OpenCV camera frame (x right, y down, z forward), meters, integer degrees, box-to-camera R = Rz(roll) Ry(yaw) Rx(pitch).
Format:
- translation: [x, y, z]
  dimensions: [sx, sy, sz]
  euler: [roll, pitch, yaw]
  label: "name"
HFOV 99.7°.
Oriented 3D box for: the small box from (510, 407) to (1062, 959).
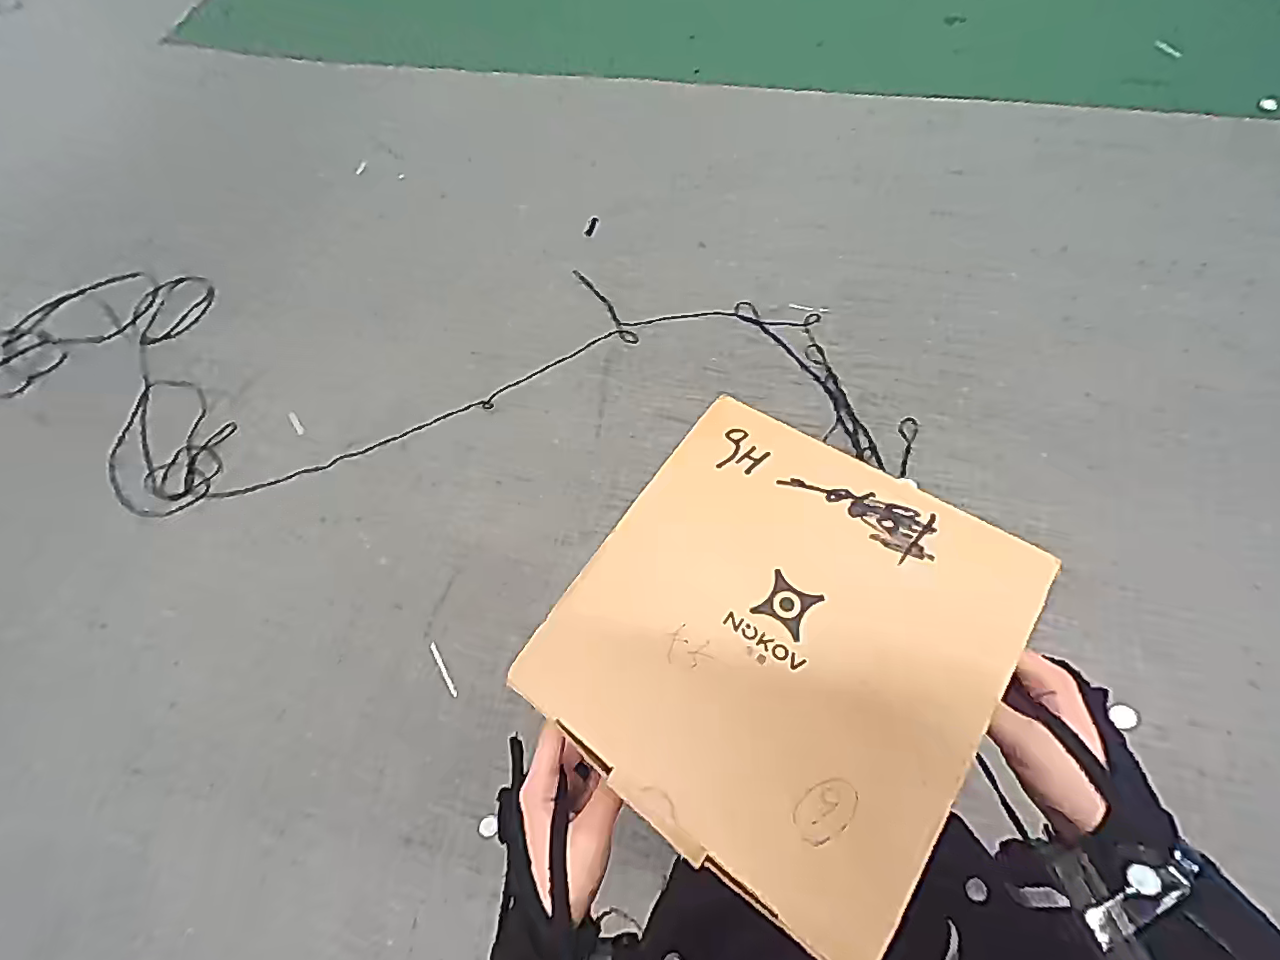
- translation: [0.069, 0.101, 0.295]
  dimensions: [0.168, 0.176, 0.179]
  euler: [32, 73, 23]
  label: "small box"
